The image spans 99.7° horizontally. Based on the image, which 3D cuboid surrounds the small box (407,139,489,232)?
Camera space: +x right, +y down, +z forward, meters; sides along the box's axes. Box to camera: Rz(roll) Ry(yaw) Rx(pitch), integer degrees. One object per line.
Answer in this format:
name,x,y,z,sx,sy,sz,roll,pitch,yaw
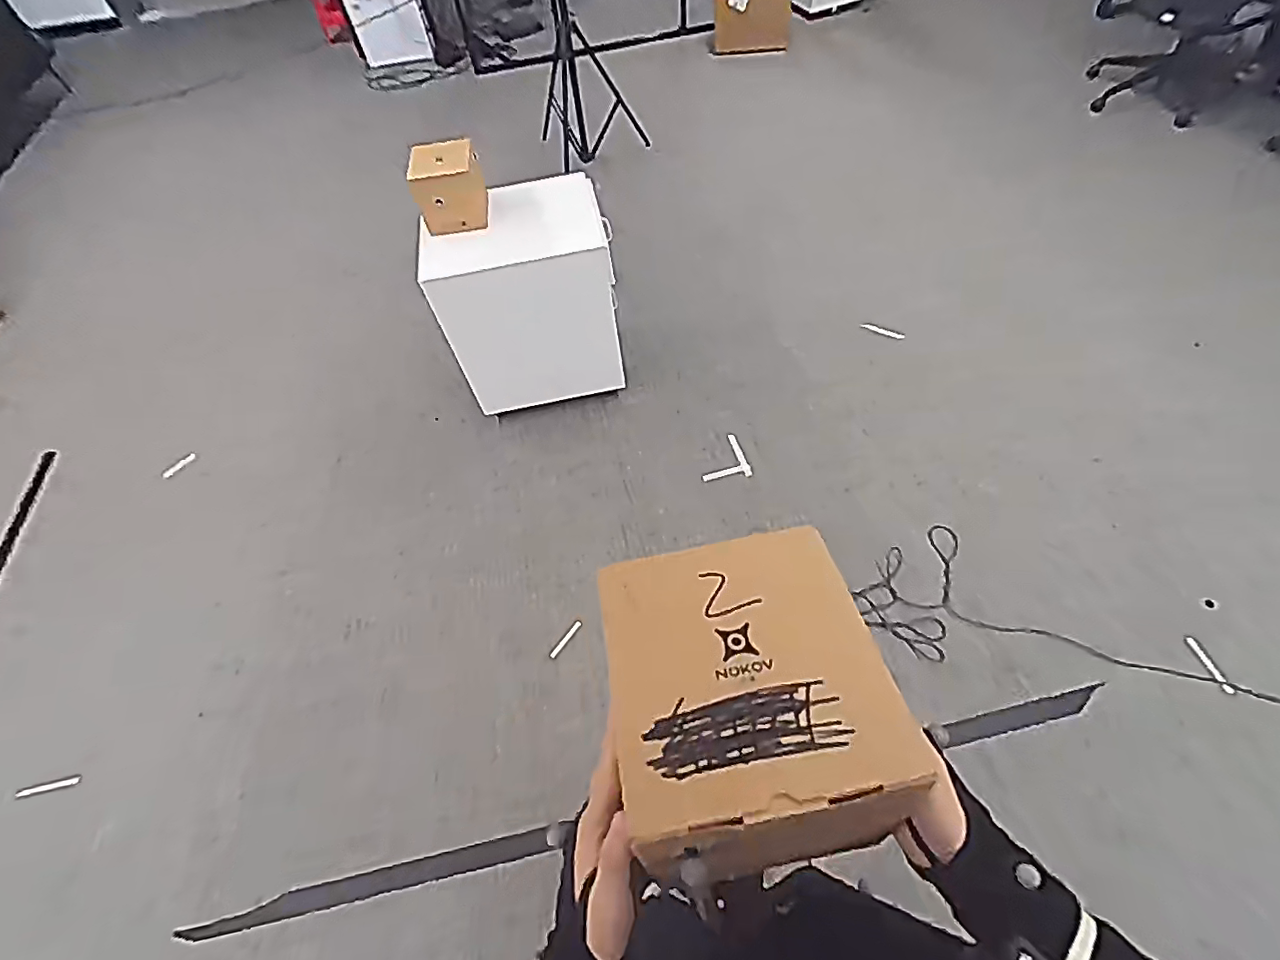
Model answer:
small box,-0.531,-0.818,1.517,0.168,0.176,0.179,-9,57,-1
